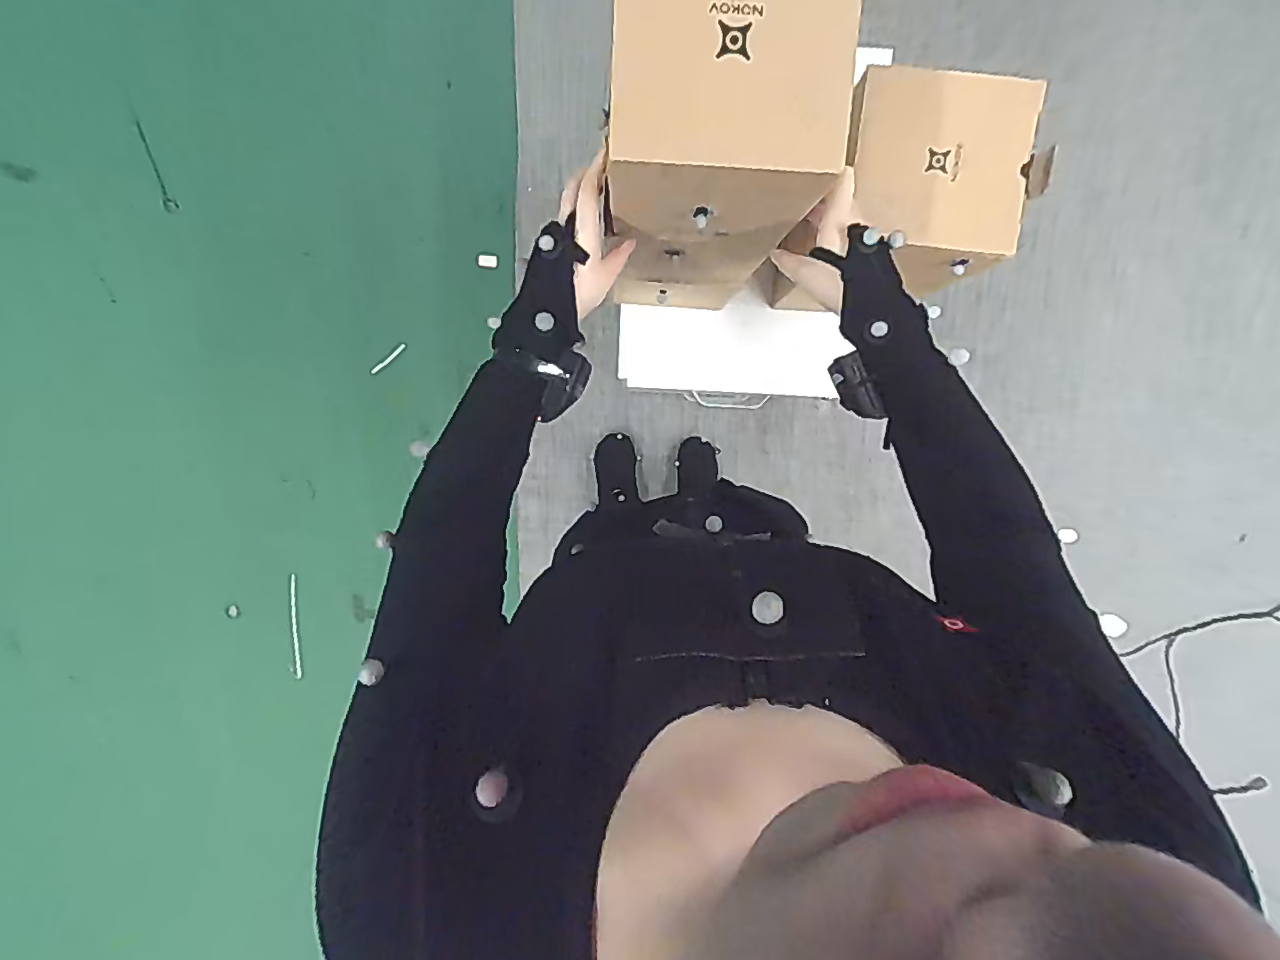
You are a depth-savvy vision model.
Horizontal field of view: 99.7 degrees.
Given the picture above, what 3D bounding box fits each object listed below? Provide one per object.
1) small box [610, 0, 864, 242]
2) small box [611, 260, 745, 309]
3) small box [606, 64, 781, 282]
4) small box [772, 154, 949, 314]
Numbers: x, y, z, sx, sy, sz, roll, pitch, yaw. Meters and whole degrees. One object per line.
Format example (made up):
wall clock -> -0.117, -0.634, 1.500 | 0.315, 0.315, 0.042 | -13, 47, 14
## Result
small box -> 0.064, -0.308, 0.440 | 0.168, 0.176, 0.179 | 3, 98, -3
small box -> 0.054, -0.344, 0.767 | 0.179, 0.176, 0.168 | 3, 98, -1
small box -> 0.055, -0.326, 0.604 | 0.179, 0.176, 0.168 | 3, 98, -2
small box -> 0.300, -0.337, 0.771 | 0.179, 0.176, 0.168 | 4, 97, 1
